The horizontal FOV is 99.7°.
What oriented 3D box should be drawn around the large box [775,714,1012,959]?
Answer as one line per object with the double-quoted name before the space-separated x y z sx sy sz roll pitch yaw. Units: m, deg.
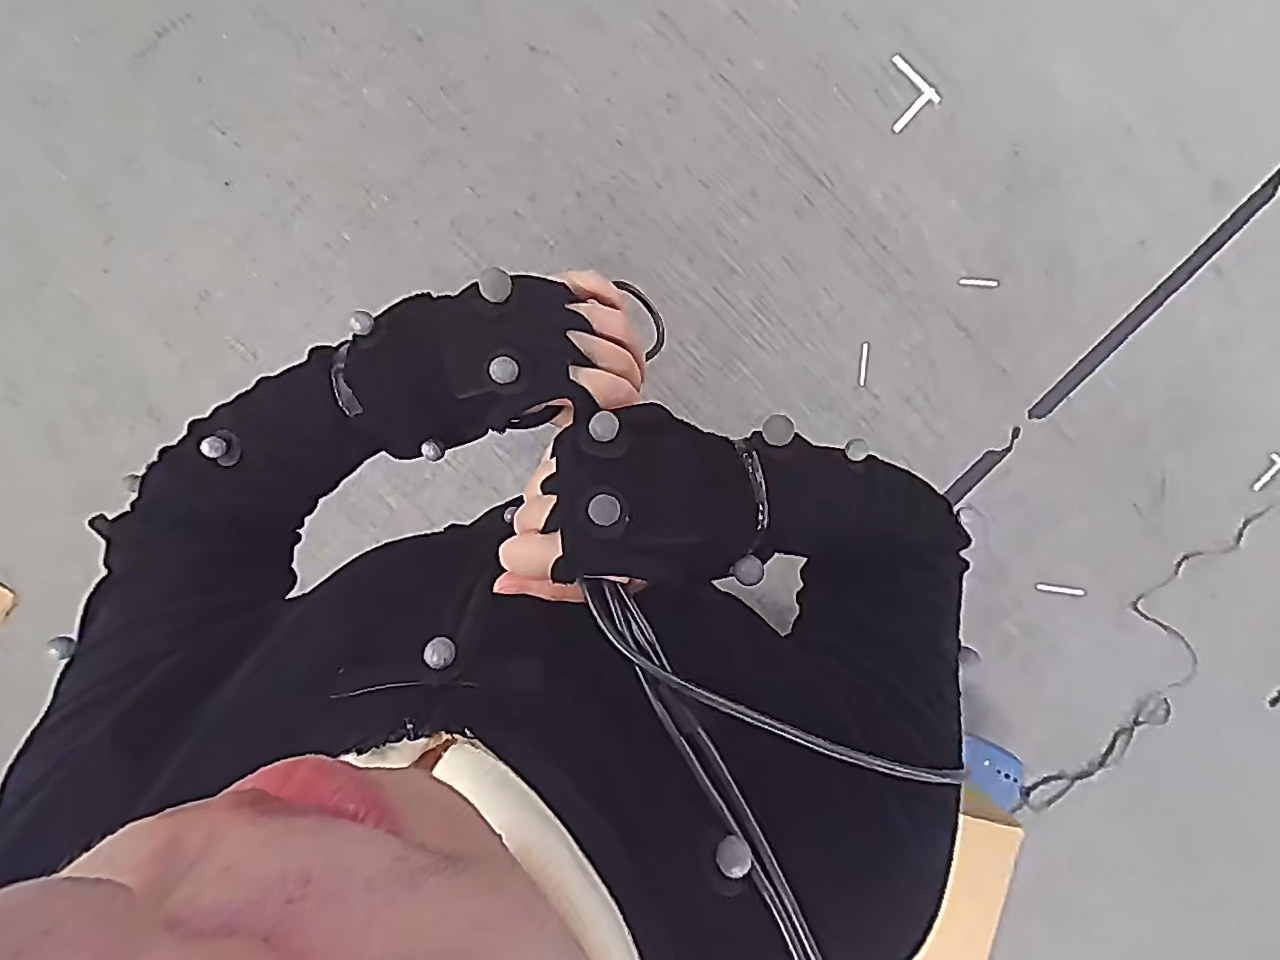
"large box" 0.534 0.809 1.210 0.320 0.320 0.408 15 92 -2
